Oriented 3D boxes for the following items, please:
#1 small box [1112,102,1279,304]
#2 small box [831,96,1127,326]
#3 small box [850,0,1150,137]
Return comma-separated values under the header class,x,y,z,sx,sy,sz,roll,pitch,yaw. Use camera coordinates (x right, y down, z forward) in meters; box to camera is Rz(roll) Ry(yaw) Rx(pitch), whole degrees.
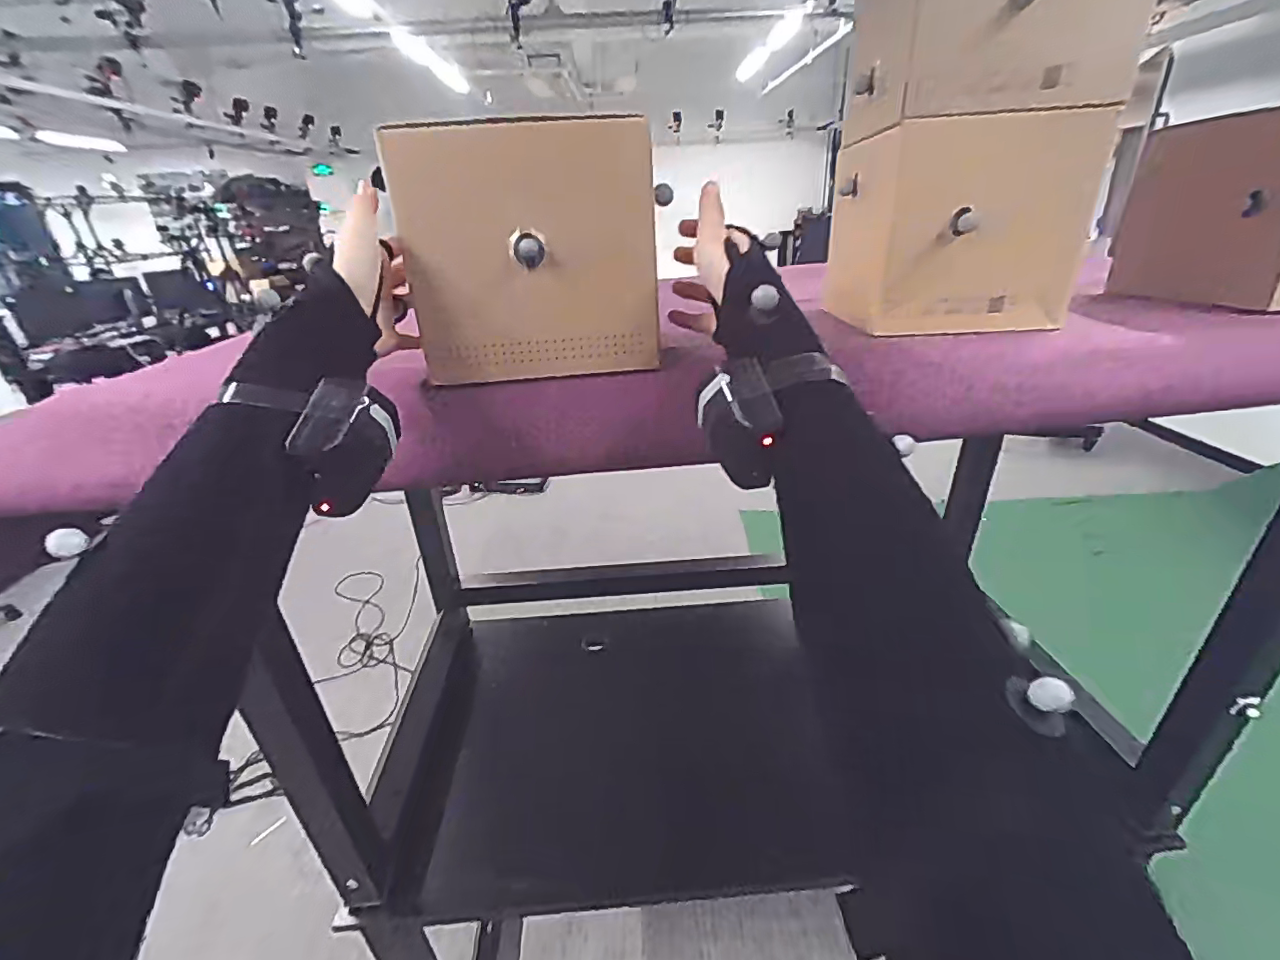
class,x,y,z,sx,sy,sz,roll,pitch,yaw
small box,0.633,-0.270,0.532,0.168,0.176,0.179,-4,25,-3
small box,0.292,-0.243,0.516,0.168,0.176,0.179,-1,25,3
small box,0.287,-0.392,0.447,0.168,0.176,0.179,-1,26,4
